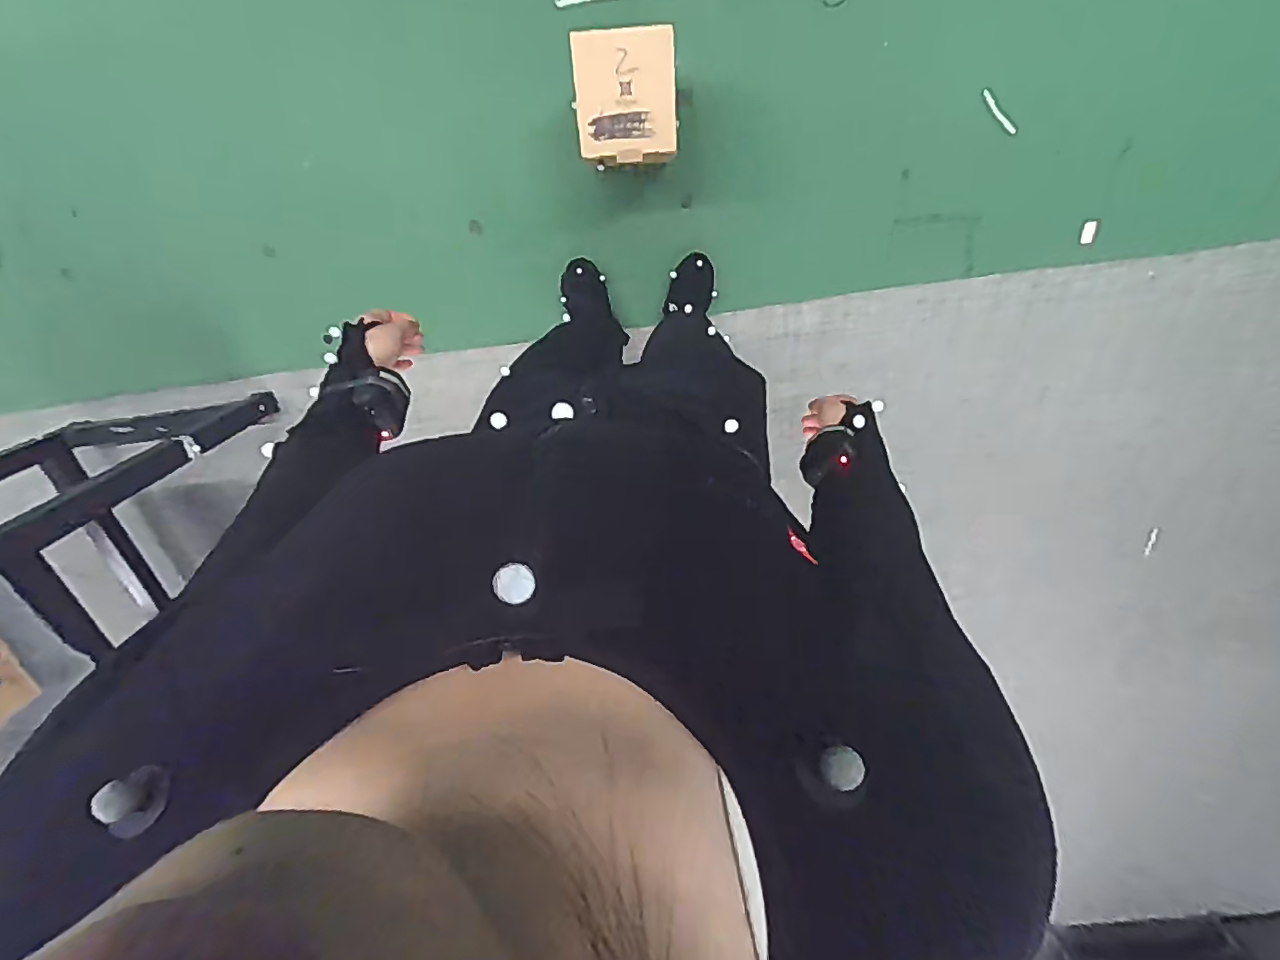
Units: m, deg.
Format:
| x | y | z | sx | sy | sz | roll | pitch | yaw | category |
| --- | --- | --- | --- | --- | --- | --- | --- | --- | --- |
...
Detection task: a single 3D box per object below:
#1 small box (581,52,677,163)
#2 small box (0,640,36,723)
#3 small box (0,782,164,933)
| x | y | z | sx | sy | sz | roll | pitch | yaw | category |
| --- | --- | --- | --- | --- | --- | --- | --- | --- | --- |
| -0.021 | -0.743 | 1.094 | 0.179 | 0.176 | 0.168 | -4 | 118 | 1 | small box |
| -1.086 | 0.326 | 0.794 | 0.179 | 0.176 | 0.168 | -2 | 118 | 1 | small box |
| -1.035 | 0.681 | 0.981 | 0.168 | 0.176 | 0.179 | -5 | 118 | 3 | small box |
